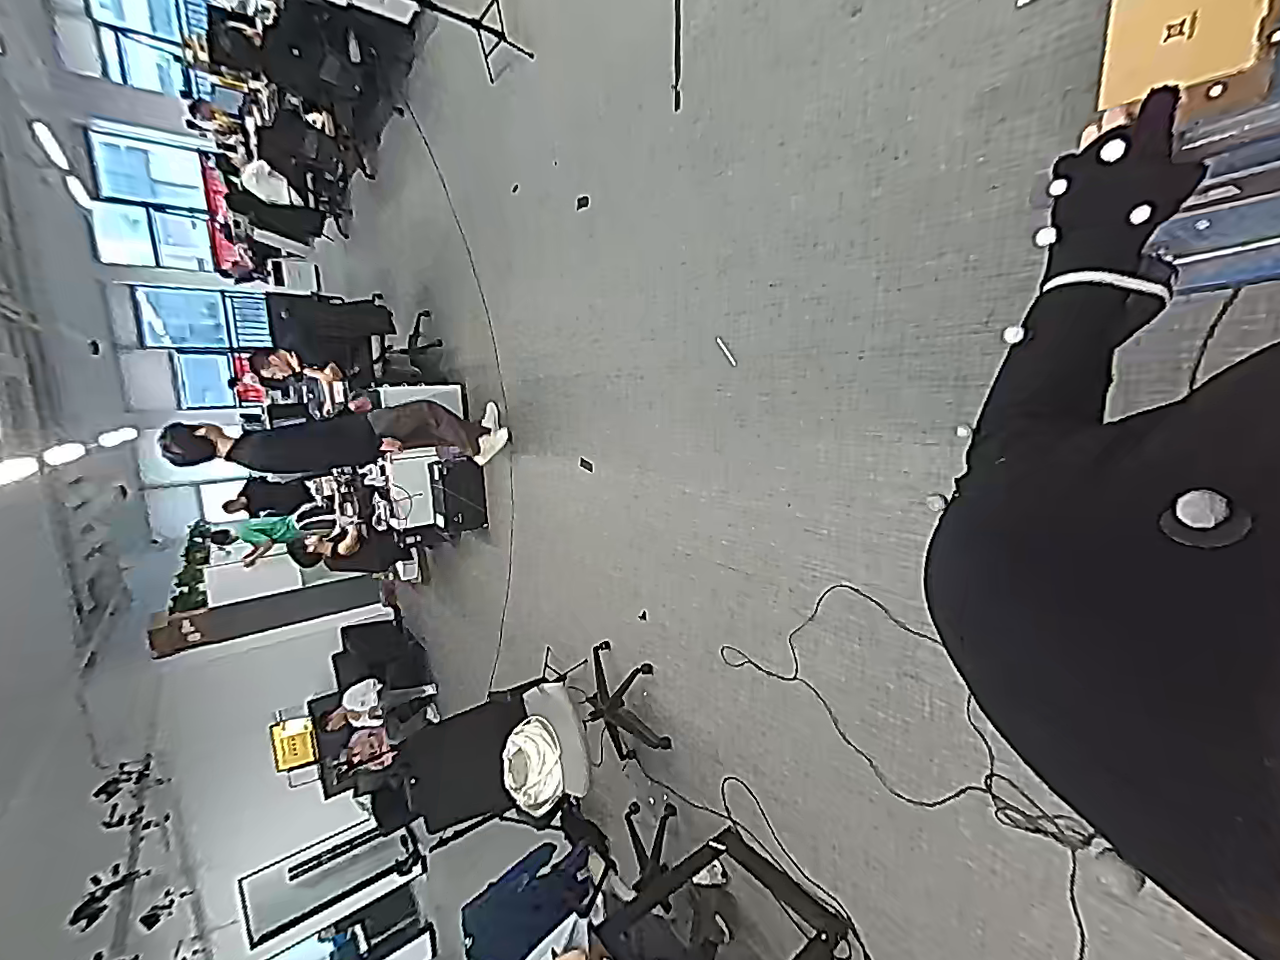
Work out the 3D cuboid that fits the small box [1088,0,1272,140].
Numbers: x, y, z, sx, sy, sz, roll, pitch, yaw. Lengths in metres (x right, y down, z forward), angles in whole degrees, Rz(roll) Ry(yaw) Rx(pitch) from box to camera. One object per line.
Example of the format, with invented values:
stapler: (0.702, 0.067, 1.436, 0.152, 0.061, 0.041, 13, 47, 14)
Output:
small box: (0.853, -0.671, 0.857, 0.179, 0.176, 0.168, 12, 107, 49)
